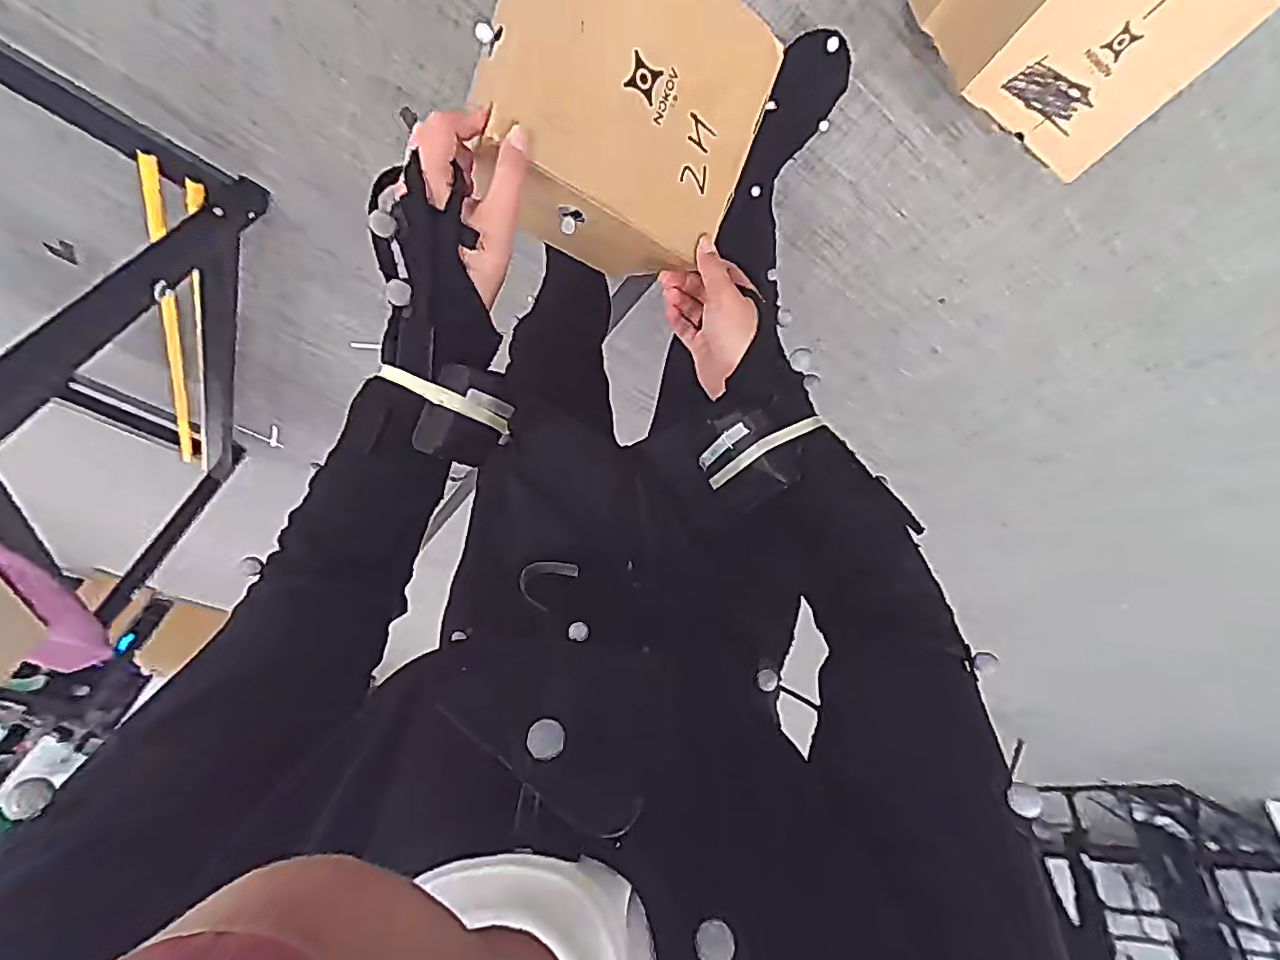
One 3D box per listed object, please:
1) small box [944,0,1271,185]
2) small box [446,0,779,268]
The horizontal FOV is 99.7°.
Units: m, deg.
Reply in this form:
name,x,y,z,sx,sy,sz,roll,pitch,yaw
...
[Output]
name,x,y,z,sx,sy,sz,roll,pitch,yaw
small box,0.435,-0.451,0.540,0.168,0.176,0.179,25,141,-18
small box,-0.034,-0.279,0.424,0.179,0.168,0.176,17,-172,-34
